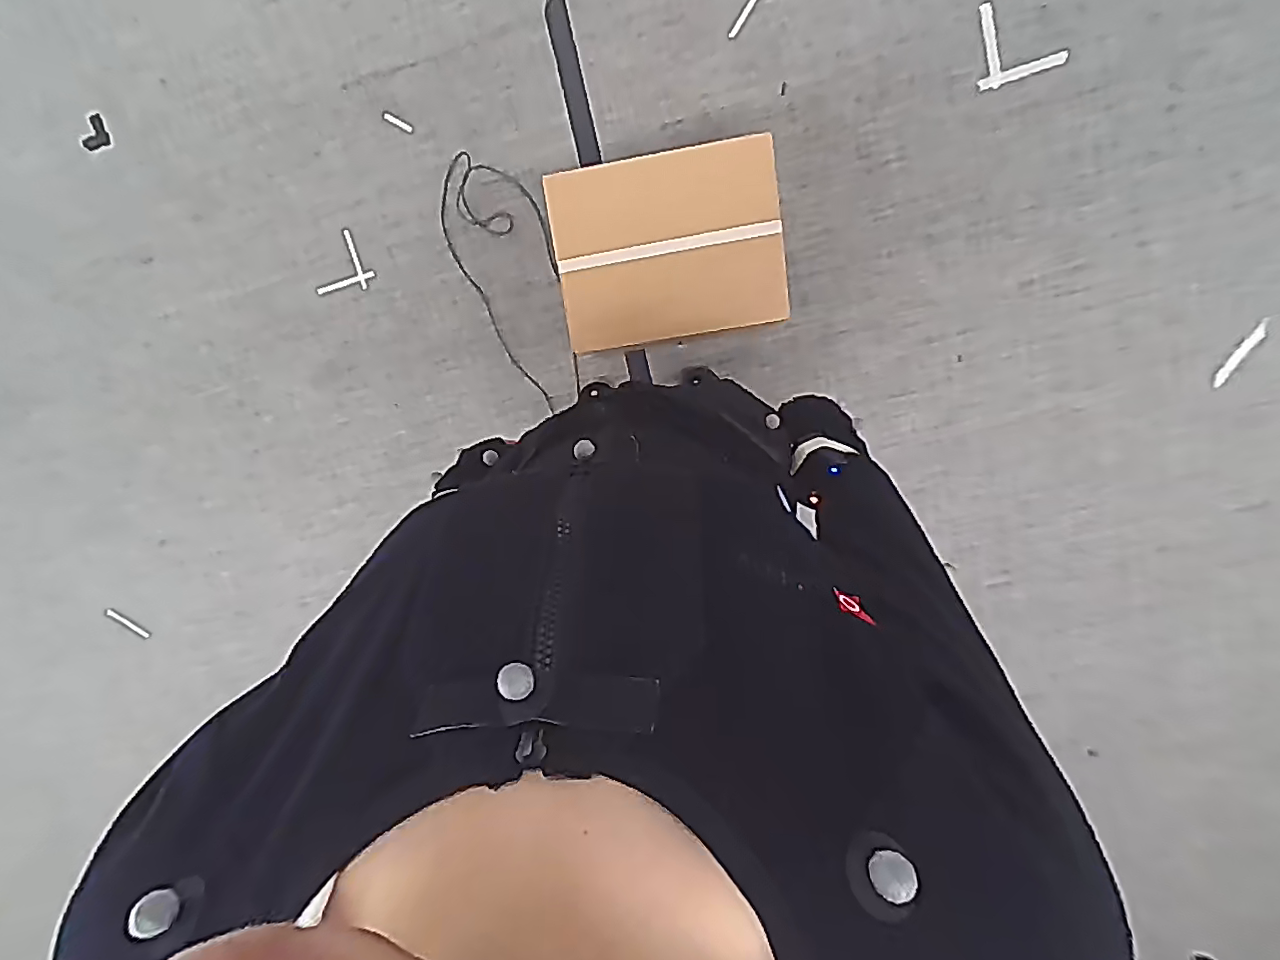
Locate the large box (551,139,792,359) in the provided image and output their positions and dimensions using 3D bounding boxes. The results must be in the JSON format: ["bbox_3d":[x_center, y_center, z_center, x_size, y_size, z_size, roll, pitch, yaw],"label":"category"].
[{"bbox_3d":[0.066,-0.438,1.117,0.408,0.320,0.320,-8,102,5],"label":"large box"}]
